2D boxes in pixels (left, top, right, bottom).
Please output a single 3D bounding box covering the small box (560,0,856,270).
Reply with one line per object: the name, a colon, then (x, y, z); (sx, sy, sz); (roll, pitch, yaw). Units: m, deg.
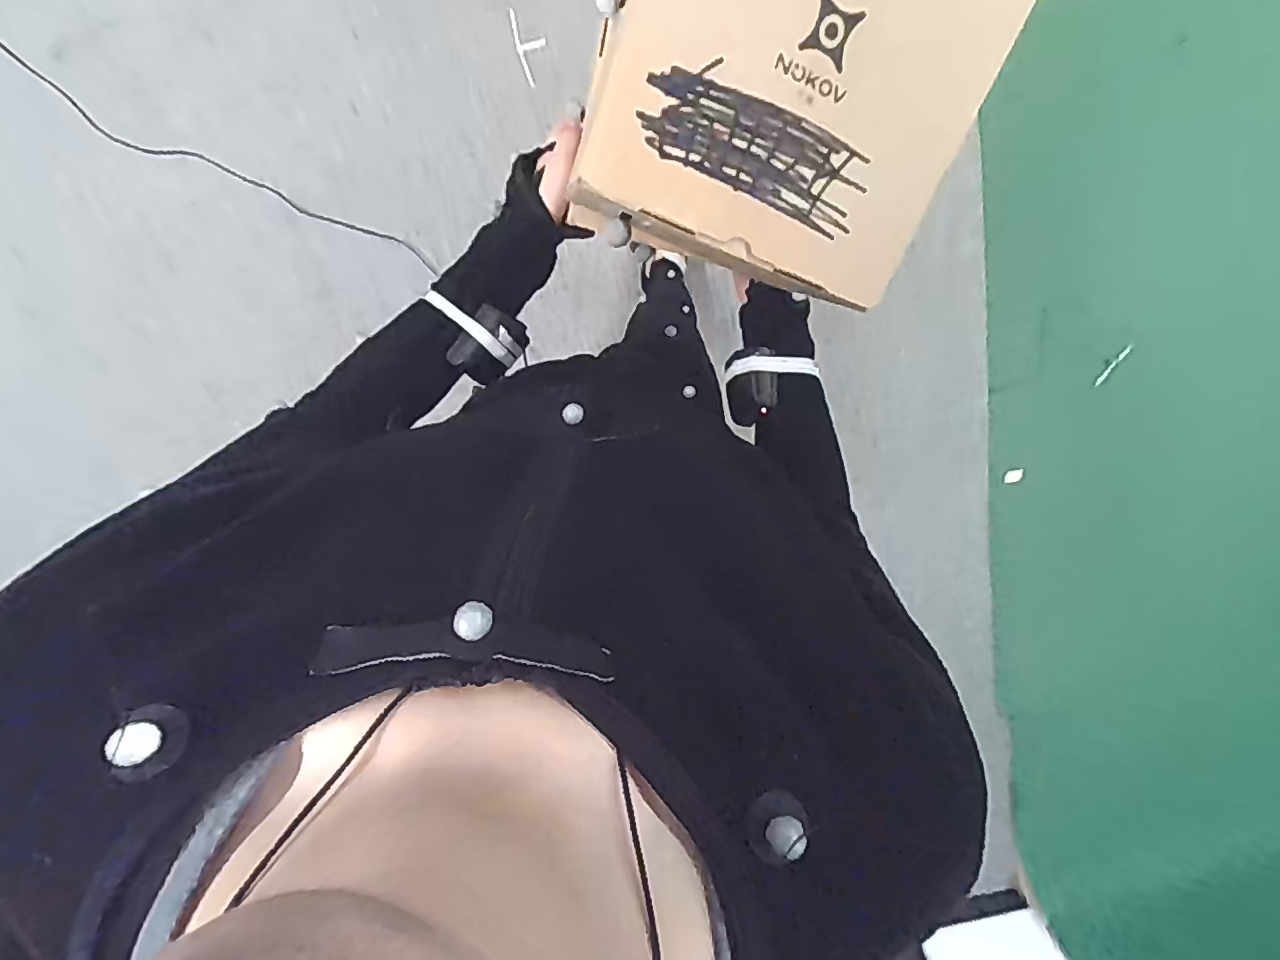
small box: (0.035, -0.287, 0.452); (0.179, 0.176, 0.168); (11, 114, -13)
